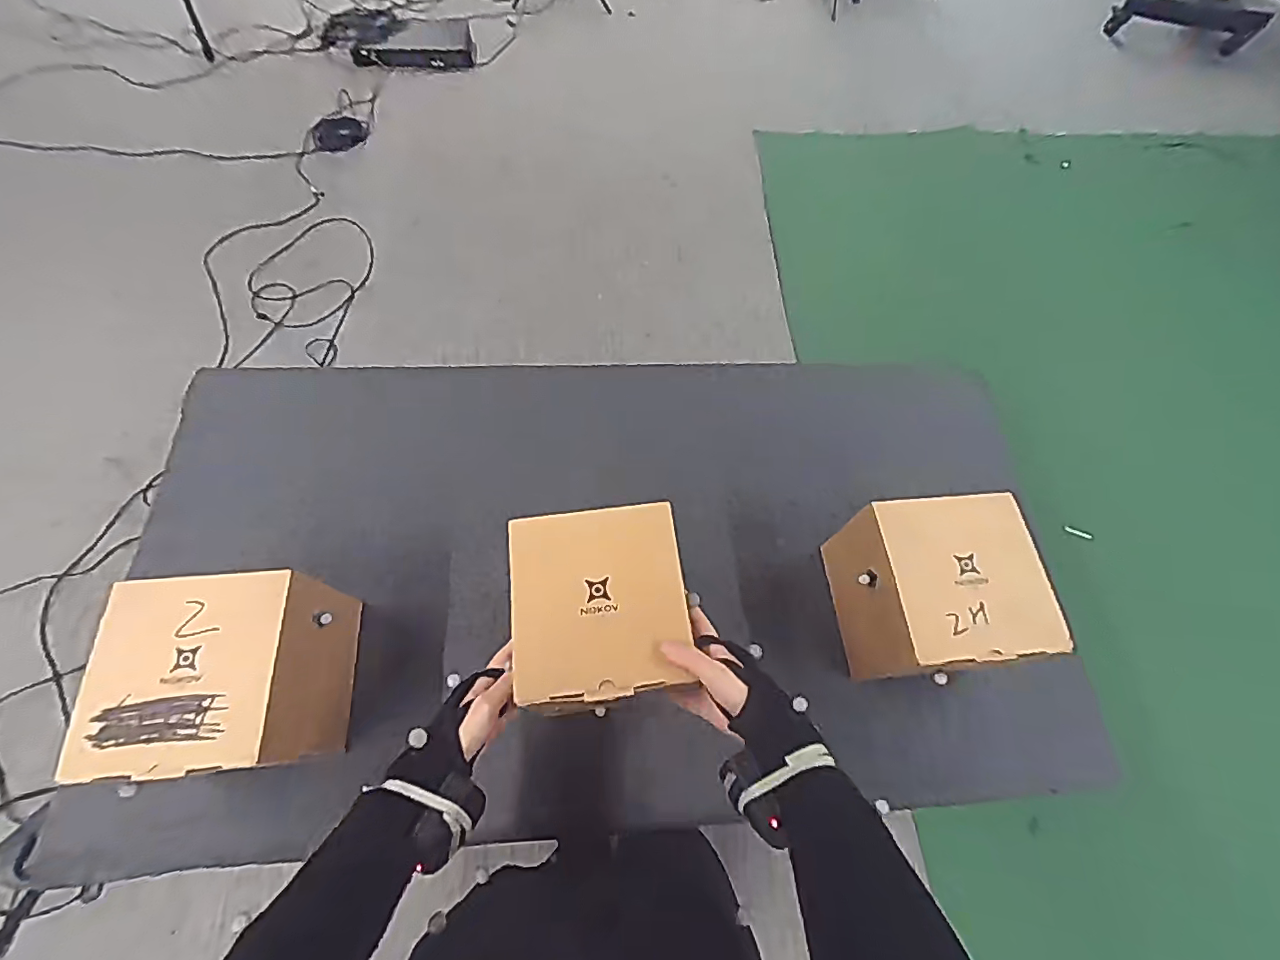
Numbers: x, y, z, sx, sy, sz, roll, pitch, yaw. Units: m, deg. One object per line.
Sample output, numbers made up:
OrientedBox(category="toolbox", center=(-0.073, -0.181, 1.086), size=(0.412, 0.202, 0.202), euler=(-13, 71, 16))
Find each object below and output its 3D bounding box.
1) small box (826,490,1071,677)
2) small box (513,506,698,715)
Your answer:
OrientedBox(category="small box", center=(0.339, 0.128, 0.640), size=(0.168, 0.176, 0.179), euler=(-5, 66, -3))
OrientedBox(category="small box", center=(-0.039, 0.149, 0.592), size=(0.168, 0.176, 0.179), euler=(-8, 64, -3))
